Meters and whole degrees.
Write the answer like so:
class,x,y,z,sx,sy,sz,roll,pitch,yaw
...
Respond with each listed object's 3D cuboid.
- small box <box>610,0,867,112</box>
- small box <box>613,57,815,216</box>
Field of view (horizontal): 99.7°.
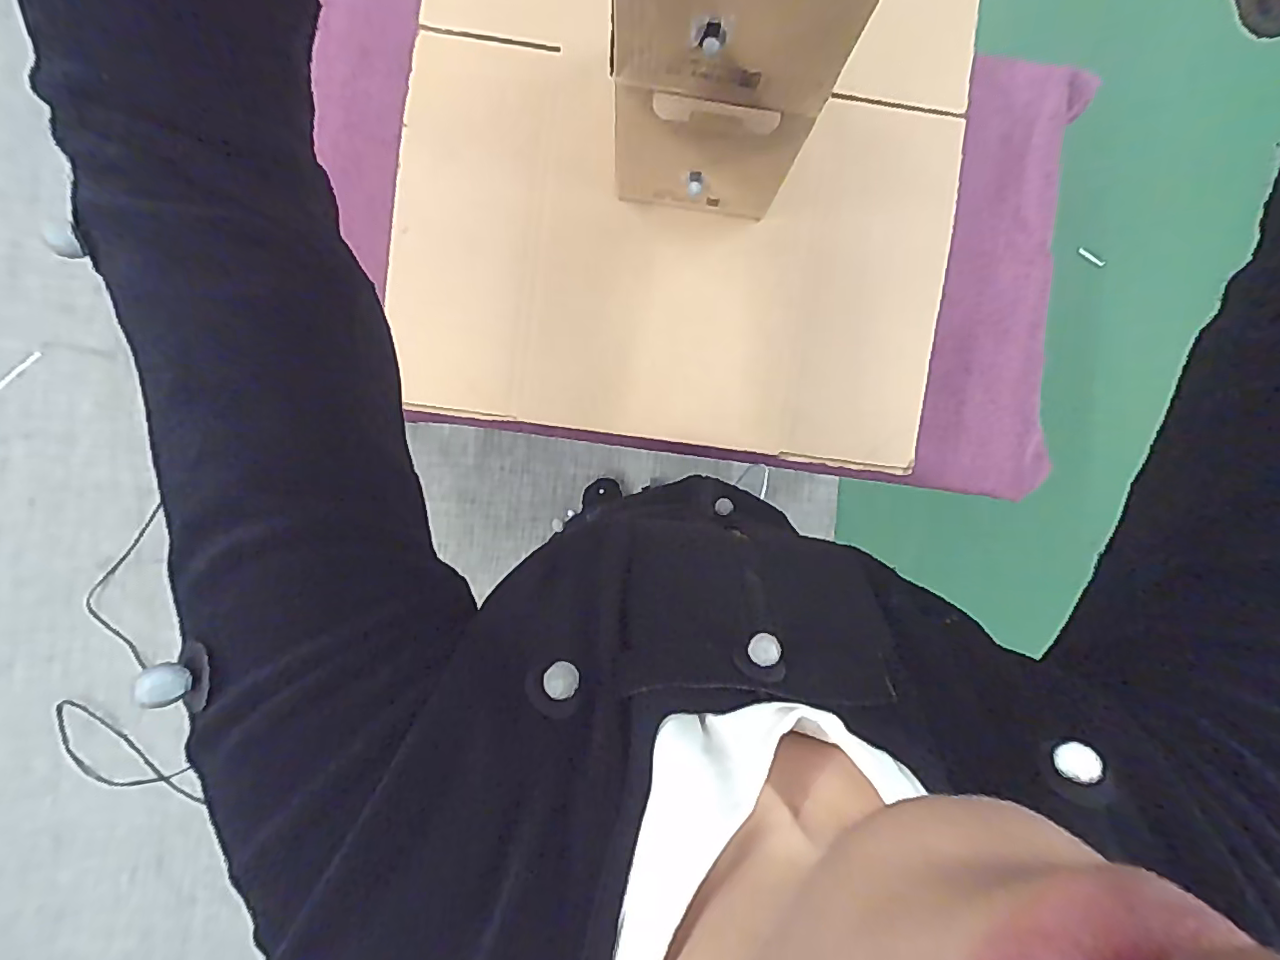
class,x,y,z,sx,sy,sz,roll,pitch,yaw
small box,0.071,-0.389,0.347,0.168,0.176,0.179,8,88,-3
small box,0.065,-0.386,0.511,0.168,0.176,0.179,7,88,-2
